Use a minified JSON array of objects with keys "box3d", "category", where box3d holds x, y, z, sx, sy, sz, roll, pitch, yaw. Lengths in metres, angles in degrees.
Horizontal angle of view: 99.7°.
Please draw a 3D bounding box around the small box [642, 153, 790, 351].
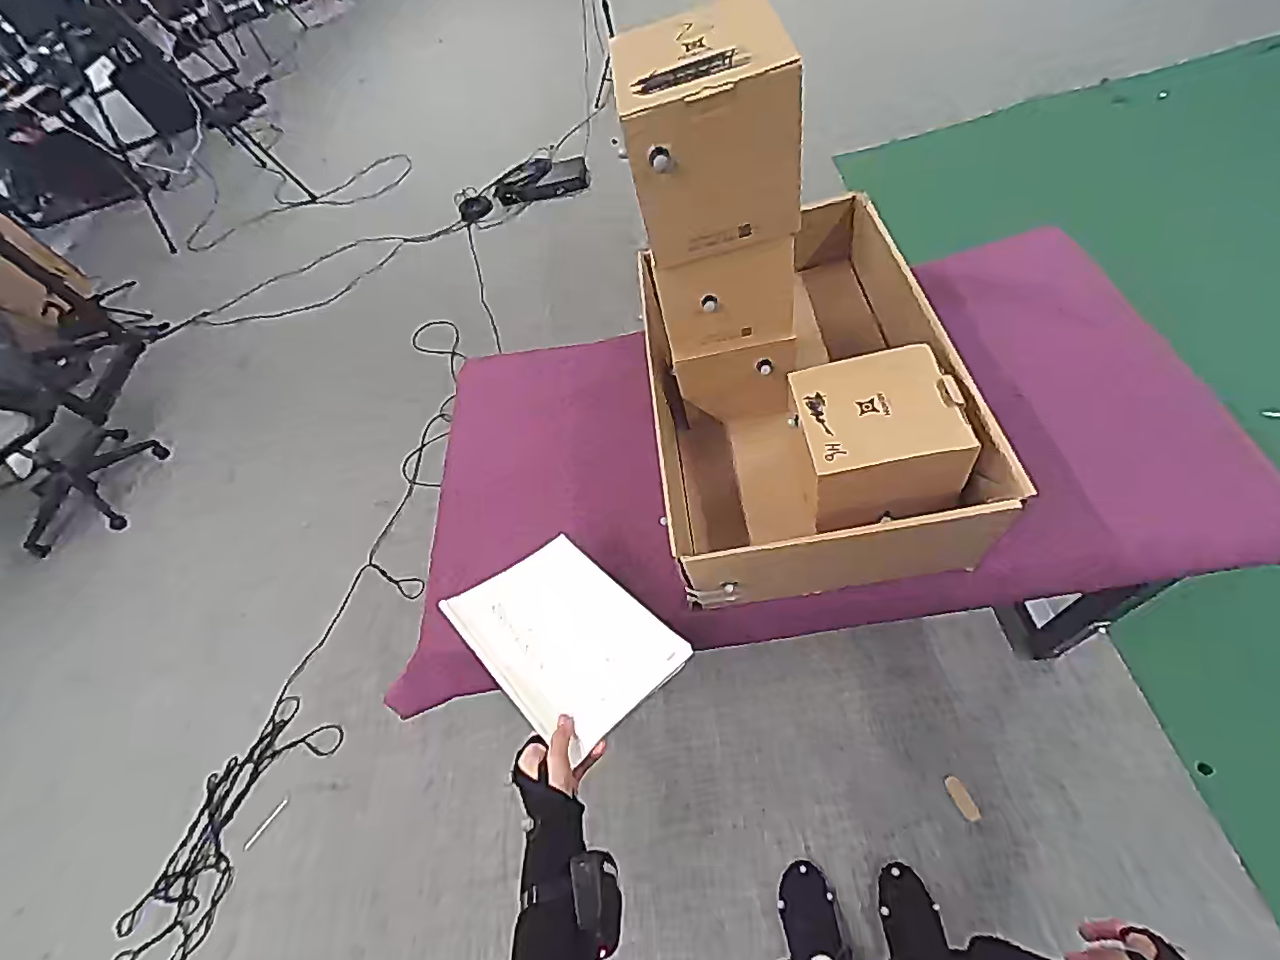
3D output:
[{"box3d":[0.105,-0.294,0.731,0.168,0.176,0.179,-10,57,10],"category":"small box"}]
